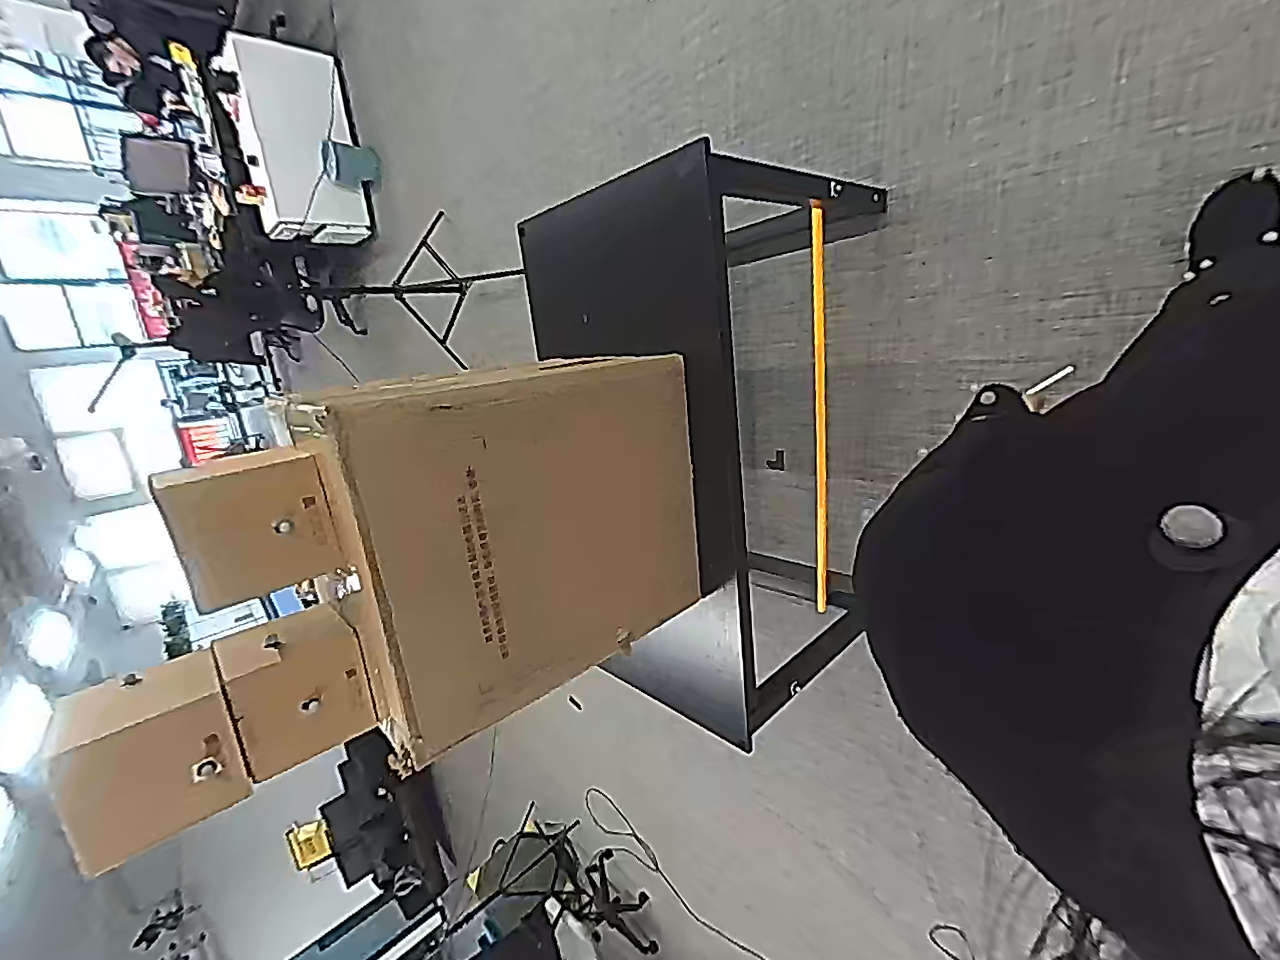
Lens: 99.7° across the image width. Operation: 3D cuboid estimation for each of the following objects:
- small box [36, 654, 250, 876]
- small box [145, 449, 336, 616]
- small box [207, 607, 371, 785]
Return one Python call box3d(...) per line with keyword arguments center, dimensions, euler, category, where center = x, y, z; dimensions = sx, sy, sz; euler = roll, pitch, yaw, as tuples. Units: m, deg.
box3d(center=(-0.646, 0.357, 0.722), dimensions=(0.179, 0.176, 0.168), euler=(7, 109, 47), category="small box")
box3d(center=(-0.543, 0.057, 0.743), dimensions=(0.179, 0.176, 0.168), euler=(10, 113, 46), category="small box")
box3d(center=(-0.535, 0.316, 0.836), dimensions=(0.179, 0.176, 0.168), euler=(8, 109, 47), category="small box")
